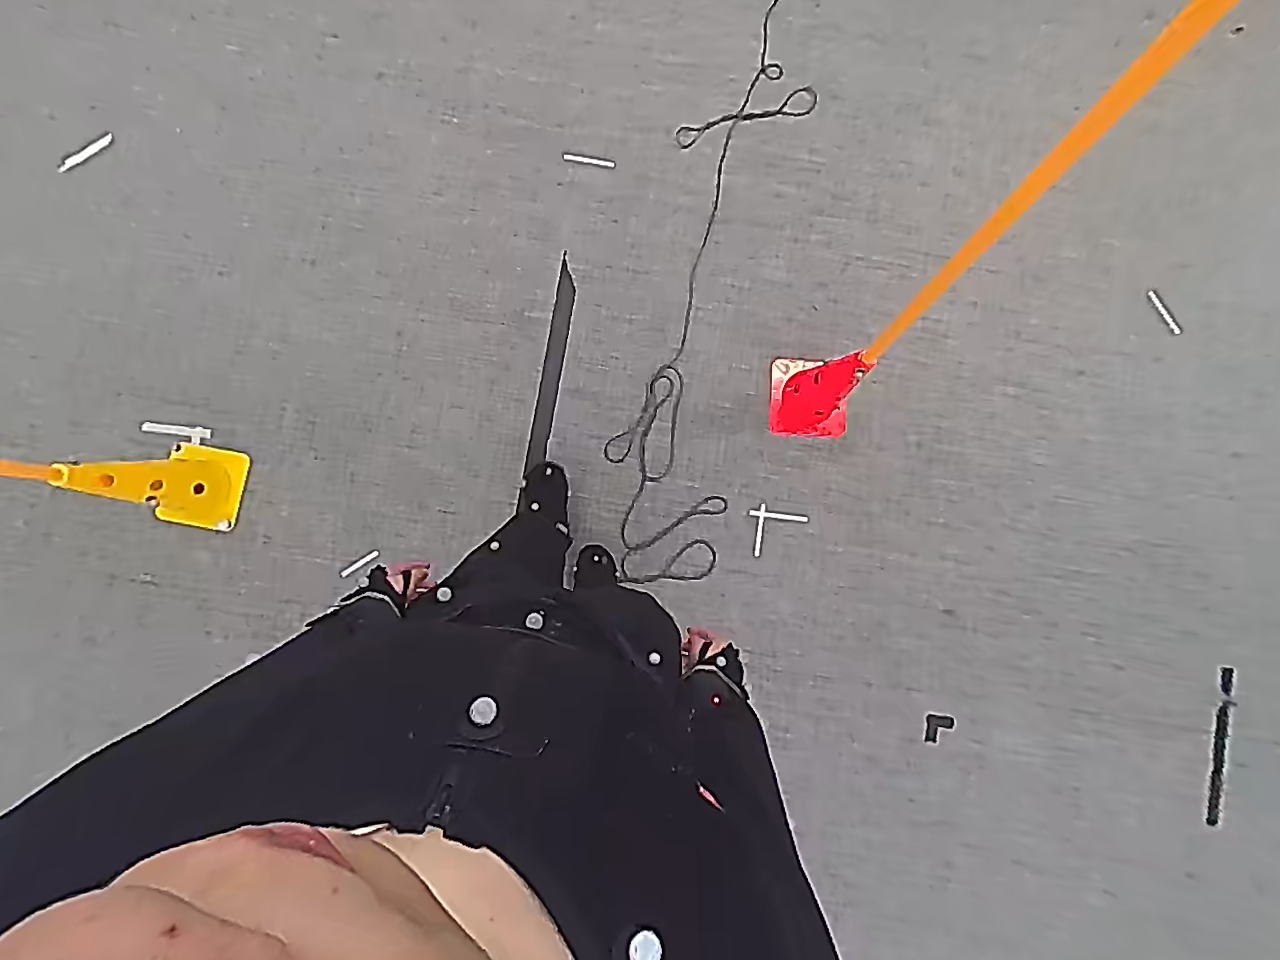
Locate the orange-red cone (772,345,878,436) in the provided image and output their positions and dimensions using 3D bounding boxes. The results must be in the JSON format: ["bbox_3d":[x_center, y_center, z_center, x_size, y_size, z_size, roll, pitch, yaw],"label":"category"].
[{"bbox_3d":[0.445,-0.230,1.233,0.199,0.360,0.198,4,85,0],"label":"orange-red cone"}]

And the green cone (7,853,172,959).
[{"bbox_3d":[-1.202,0.968,1.101,0.200,0.368,0.202,-1,84,-2],"label":"green cone"}]
